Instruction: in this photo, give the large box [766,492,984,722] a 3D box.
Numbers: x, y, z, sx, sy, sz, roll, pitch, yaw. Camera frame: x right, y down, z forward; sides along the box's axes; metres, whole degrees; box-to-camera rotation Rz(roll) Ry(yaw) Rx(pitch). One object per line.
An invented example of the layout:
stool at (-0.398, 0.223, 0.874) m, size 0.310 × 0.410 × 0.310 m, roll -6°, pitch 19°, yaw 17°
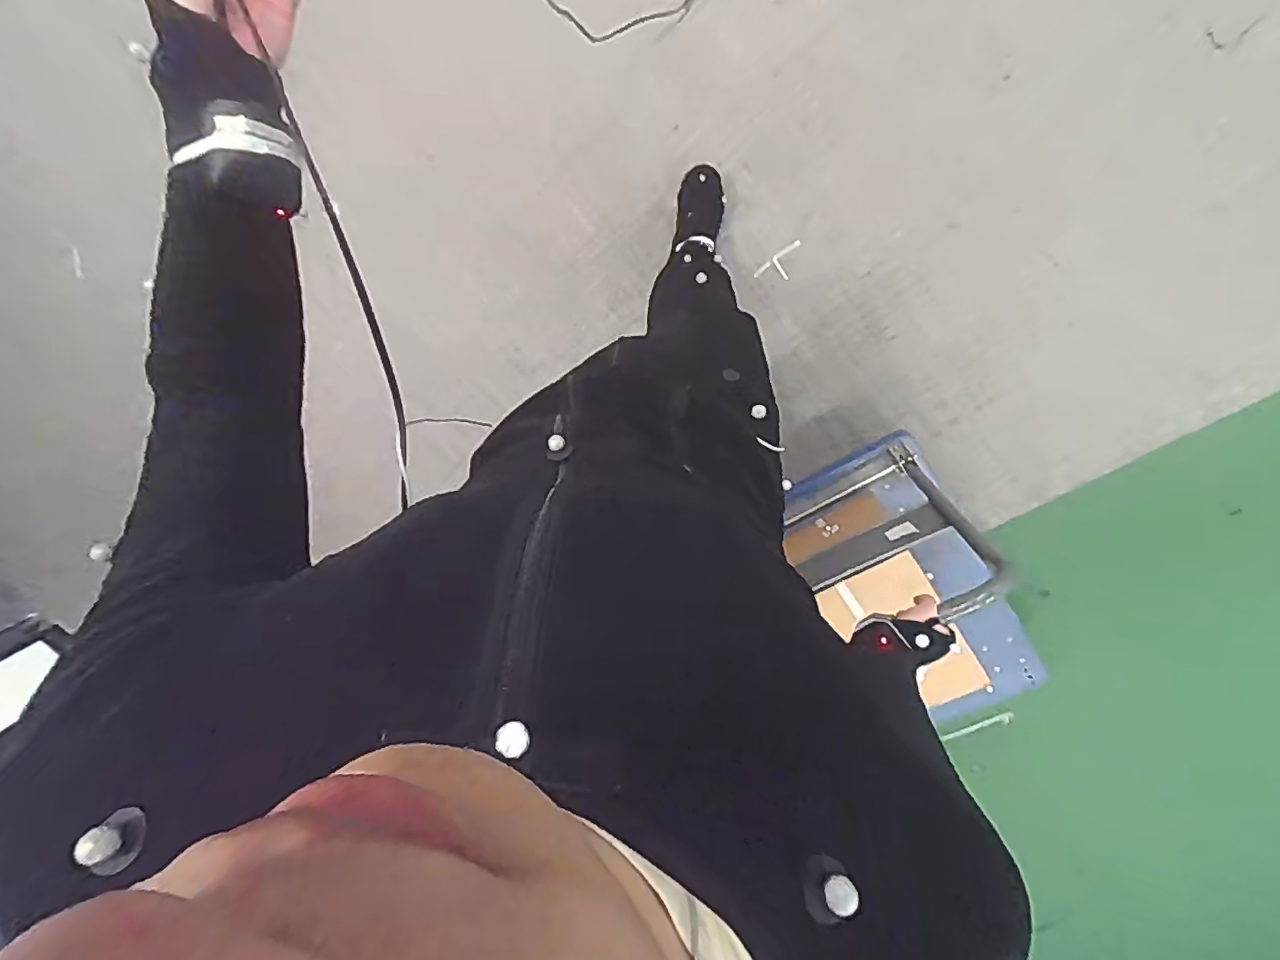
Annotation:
large box at (0.562, 0.308, 1.363) m, size 0.320 × 0.320 × 0.408 m, roll -31°, pitch 104°, yaw 19°
